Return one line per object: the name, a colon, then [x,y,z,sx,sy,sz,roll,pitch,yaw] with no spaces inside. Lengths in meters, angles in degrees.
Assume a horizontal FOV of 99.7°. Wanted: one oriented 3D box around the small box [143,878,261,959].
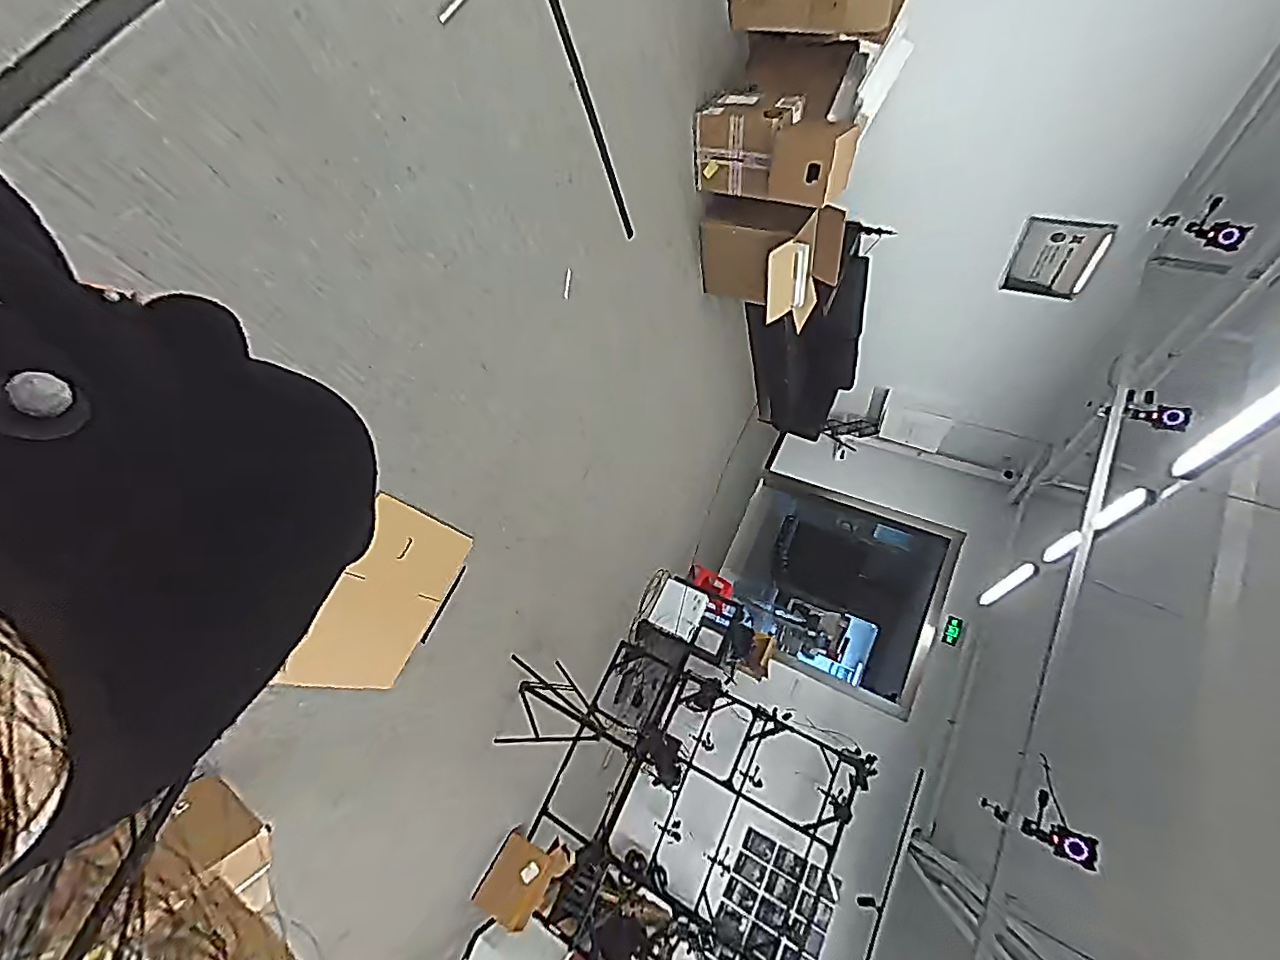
small box: [-1.111,1.178,1.378,0.179,0.176,0.168,-26,130,-56]
